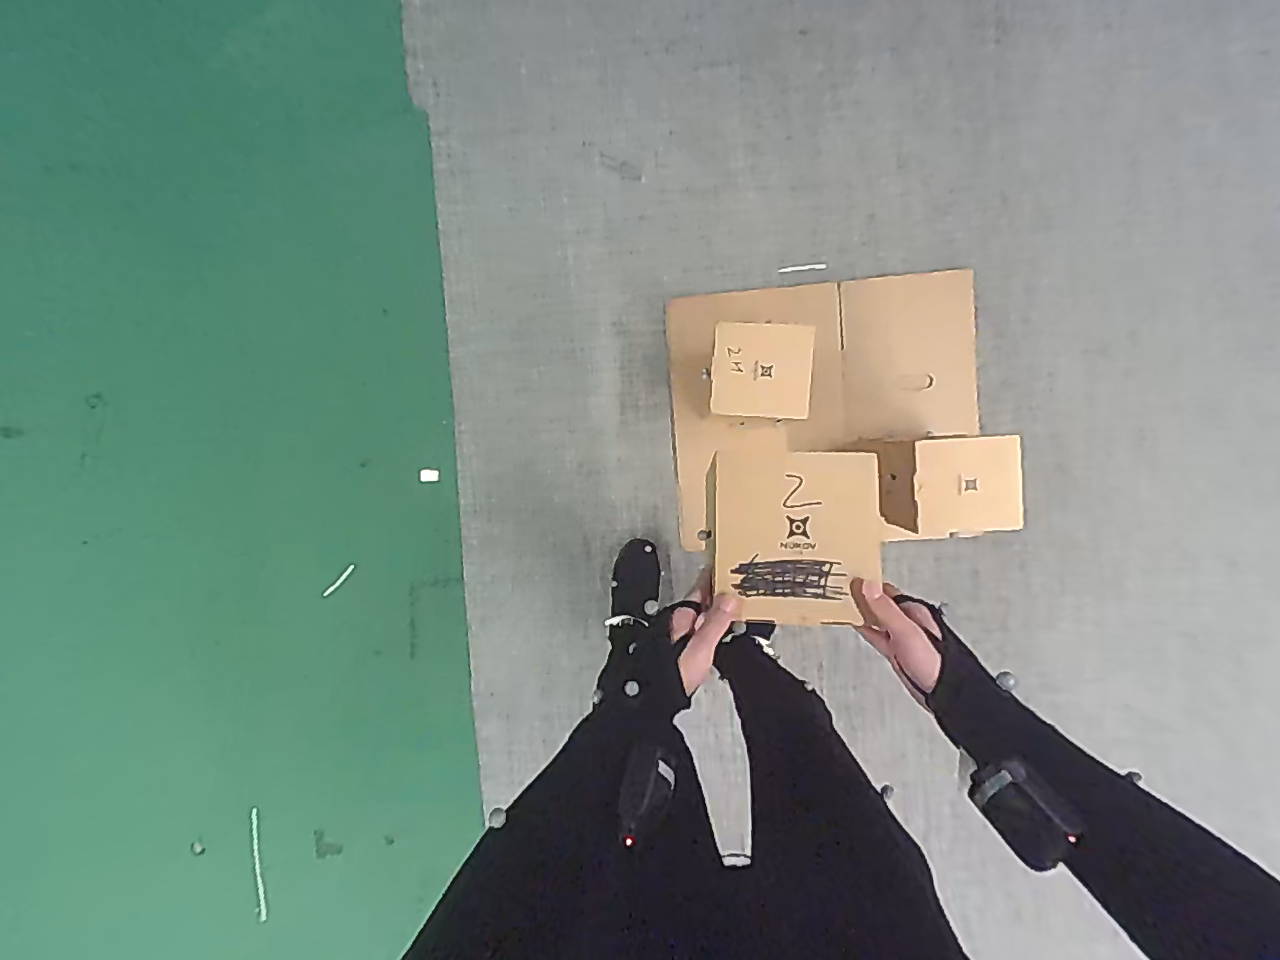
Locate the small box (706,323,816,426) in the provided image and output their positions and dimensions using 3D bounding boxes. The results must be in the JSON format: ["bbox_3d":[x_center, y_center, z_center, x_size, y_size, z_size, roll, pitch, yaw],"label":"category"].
[{"bbox_3d":[0.222,-0.194,1.031,0.179,0.176,0.168,4,92,5],"label":"small box"}]

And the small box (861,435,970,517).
[{"bbox_3d":[0.588,-0.009,1.173,0.179,0.176,0.168,-3,92,6],"label":"small box"}]

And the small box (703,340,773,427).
[{"bbox_3d":[0.235,-0.207,1.197,0.179,0.176,0.168,5,93,5],"label":"small box"}]

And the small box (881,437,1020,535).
[{"bbox_3d":[0.572,0.006,1.013,0.179,0.176,0.168,-4,93,7],"label":"small box"}]
